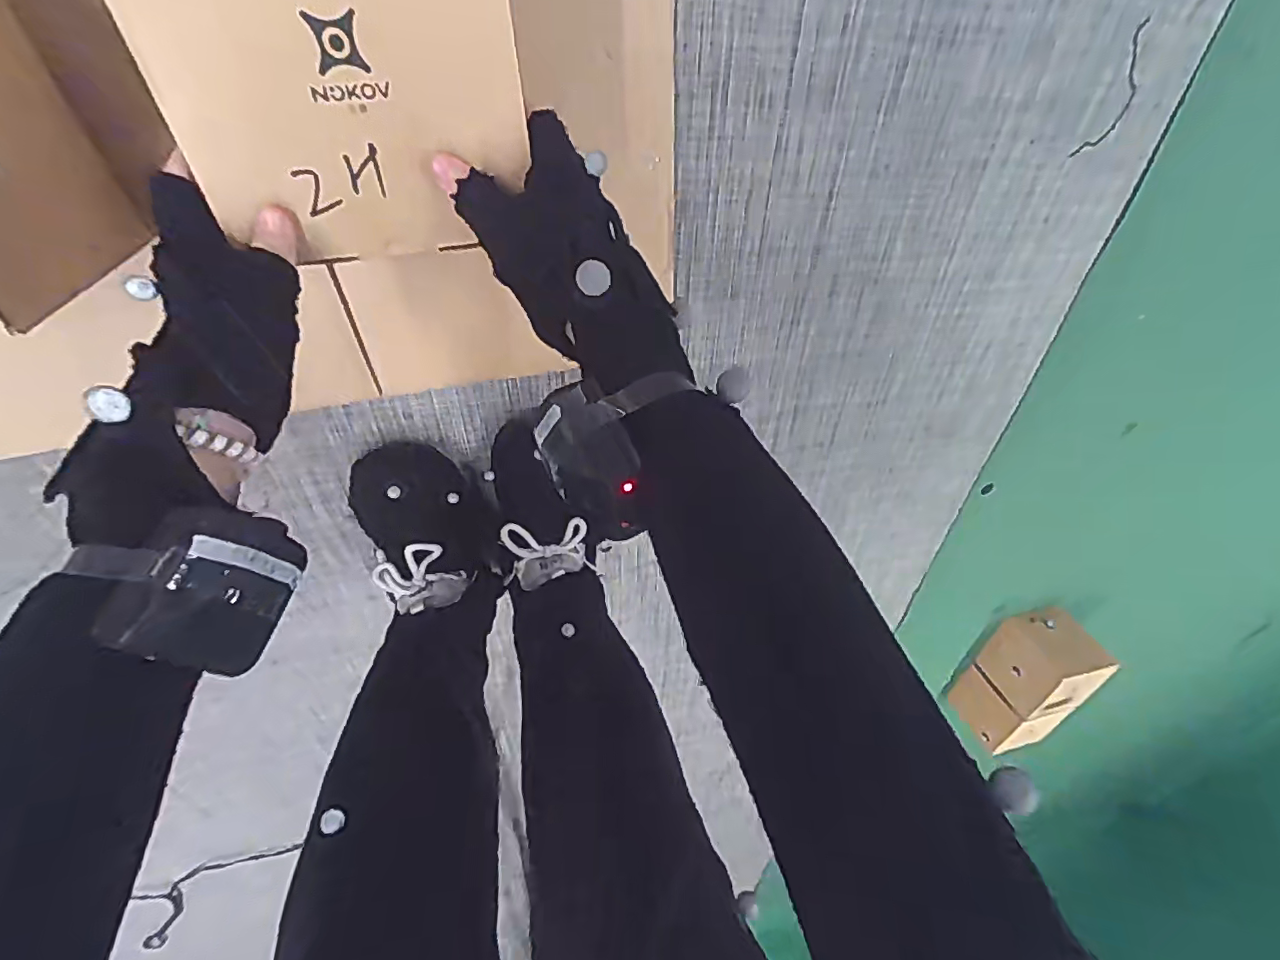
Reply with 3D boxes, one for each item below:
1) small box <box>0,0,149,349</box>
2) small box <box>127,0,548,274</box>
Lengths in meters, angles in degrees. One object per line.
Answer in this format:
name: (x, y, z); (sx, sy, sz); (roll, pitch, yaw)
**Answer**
small box: (-0.420, -0.173, 0.278); (0.168, 0.176, 0.179); (-12, 131, -9)
small box: (-0.154, -0.242, 0.316); (0.168, 0.176, 0.179); (-10, 132, -10)
